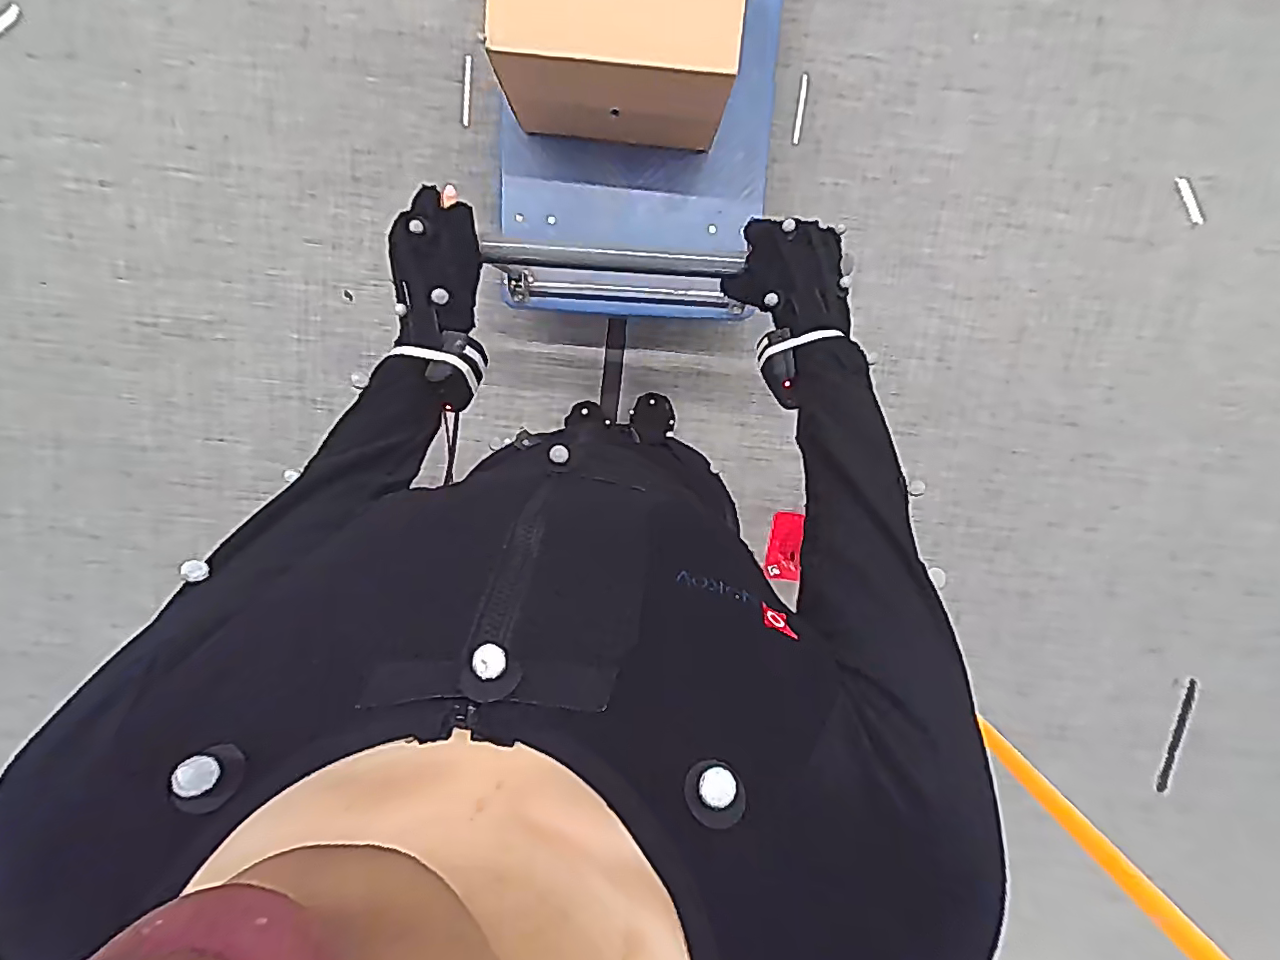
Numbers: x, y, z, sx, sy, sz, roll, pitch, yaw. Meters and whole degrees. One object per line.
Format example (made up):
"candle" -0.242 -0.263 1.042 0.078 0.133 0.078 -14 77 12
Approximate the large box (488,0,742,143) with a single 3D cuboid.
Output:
"large box" -0.032 -0.845 0.979 0.408 0.320 0.320 4 101 -1

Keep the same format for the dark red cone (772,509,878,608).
"dark red cone" 0.475 0.216 1.326 0.201 0.394 0.202 5 102 -3
